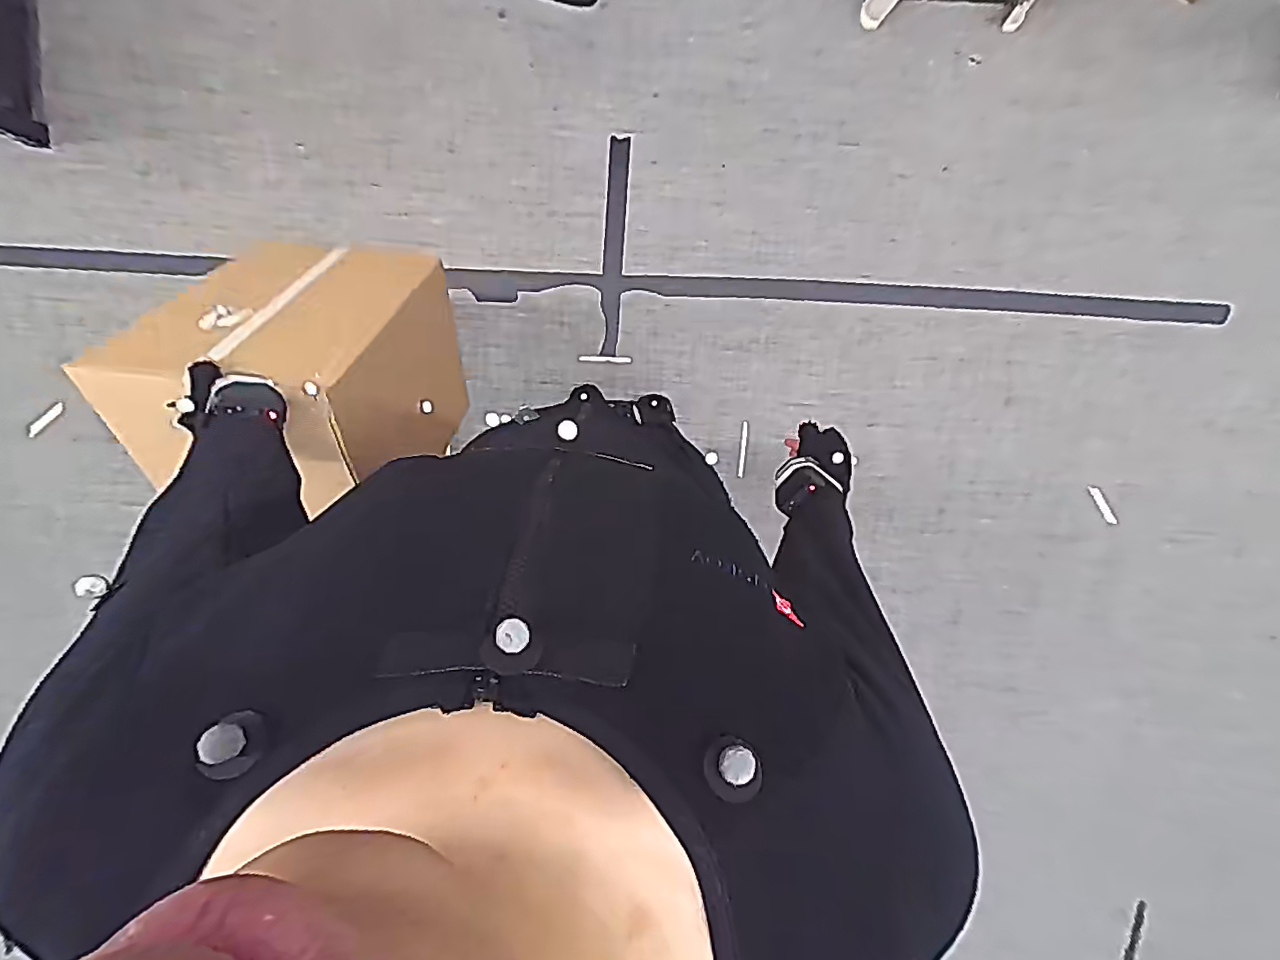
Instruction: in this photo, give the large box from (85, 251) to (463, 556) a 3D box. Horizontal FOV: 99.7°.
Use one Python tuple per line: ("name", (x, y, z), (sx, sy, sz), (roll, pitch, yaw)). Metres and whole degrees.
("large box", (-0.518, -0.135, 0.893), (0.320, 0.408, 0.320), (5, 134, 1))
